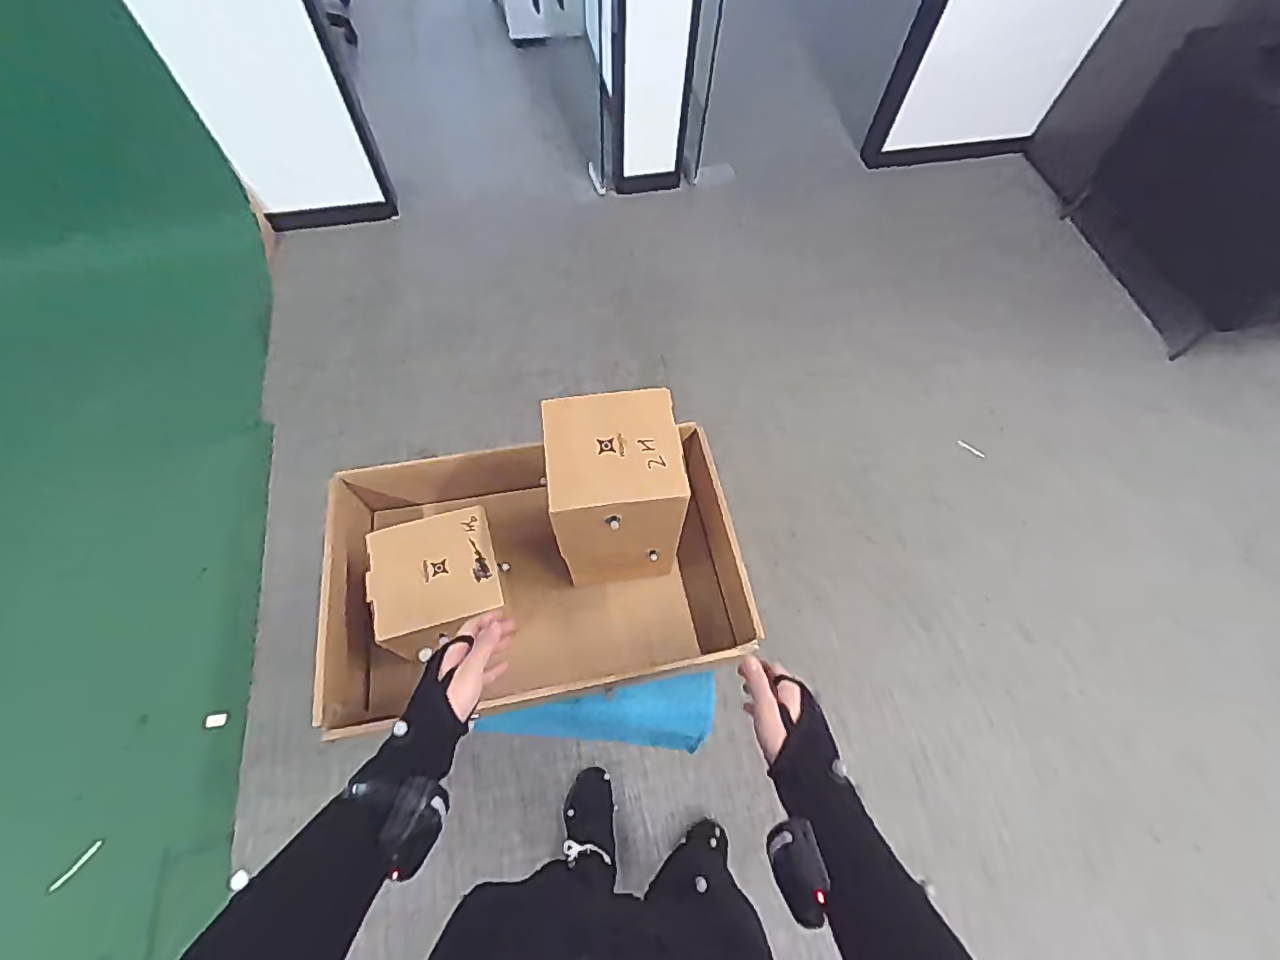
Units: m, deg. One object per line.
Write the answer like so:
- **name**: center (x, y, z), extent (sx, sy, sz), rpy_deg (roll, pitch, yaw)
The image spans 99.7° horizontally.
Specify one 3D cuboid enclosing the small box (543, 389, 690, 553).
- **small box**: center (-0.035, -0.006, 0.758), extent (0.179, 0.176, 0.168), rpy_deg (-6, 64, -6)
